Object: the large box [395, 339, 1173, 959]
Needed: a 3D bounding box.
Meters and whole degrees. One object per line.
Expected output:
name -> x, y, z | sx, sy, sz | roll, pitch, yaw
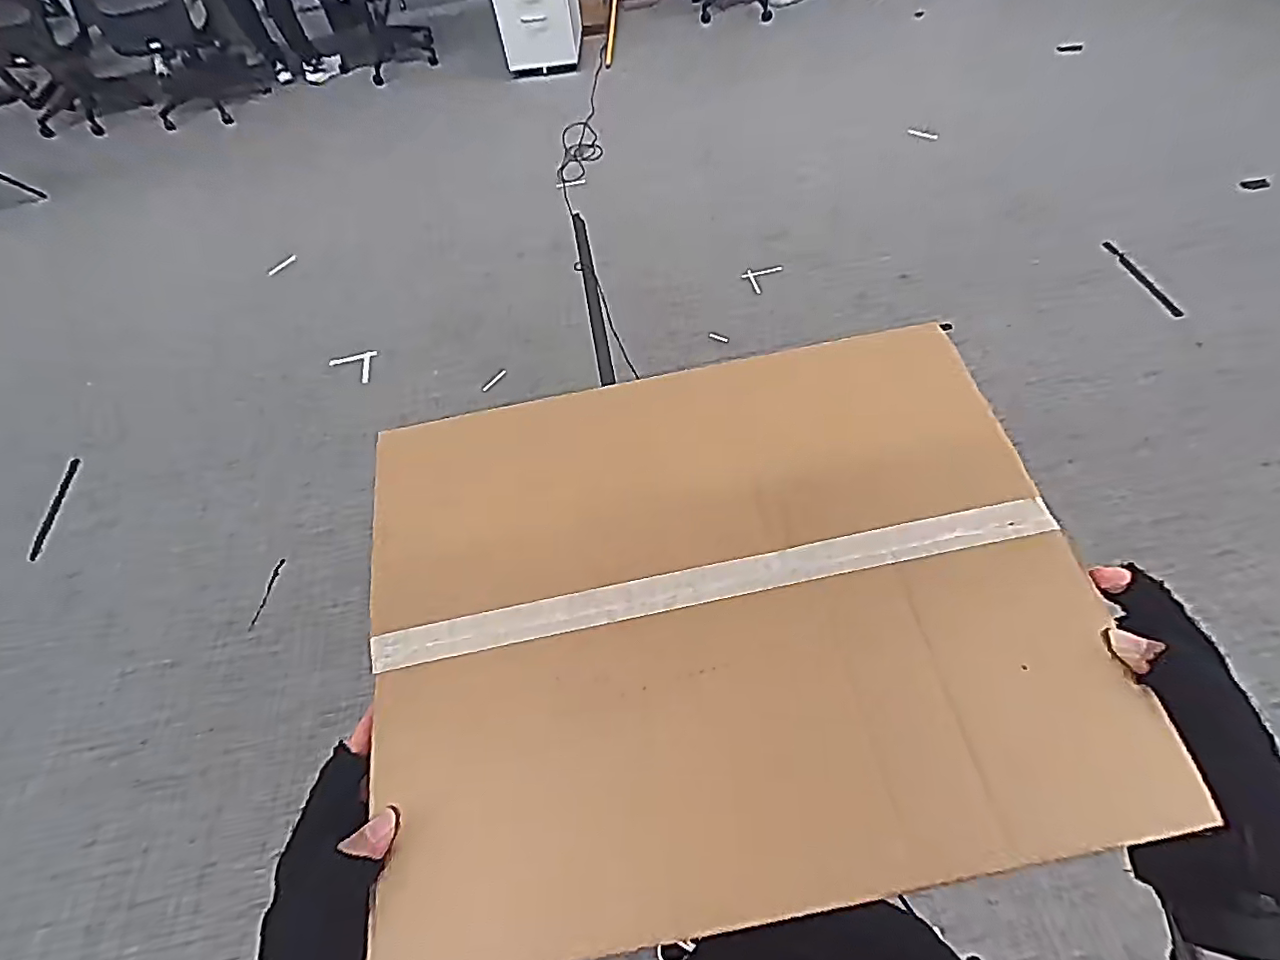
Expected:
large box -> 0.056, 0.136, 0.464 | 0.408, 0.320, 0.320 | -12, 64, -1
